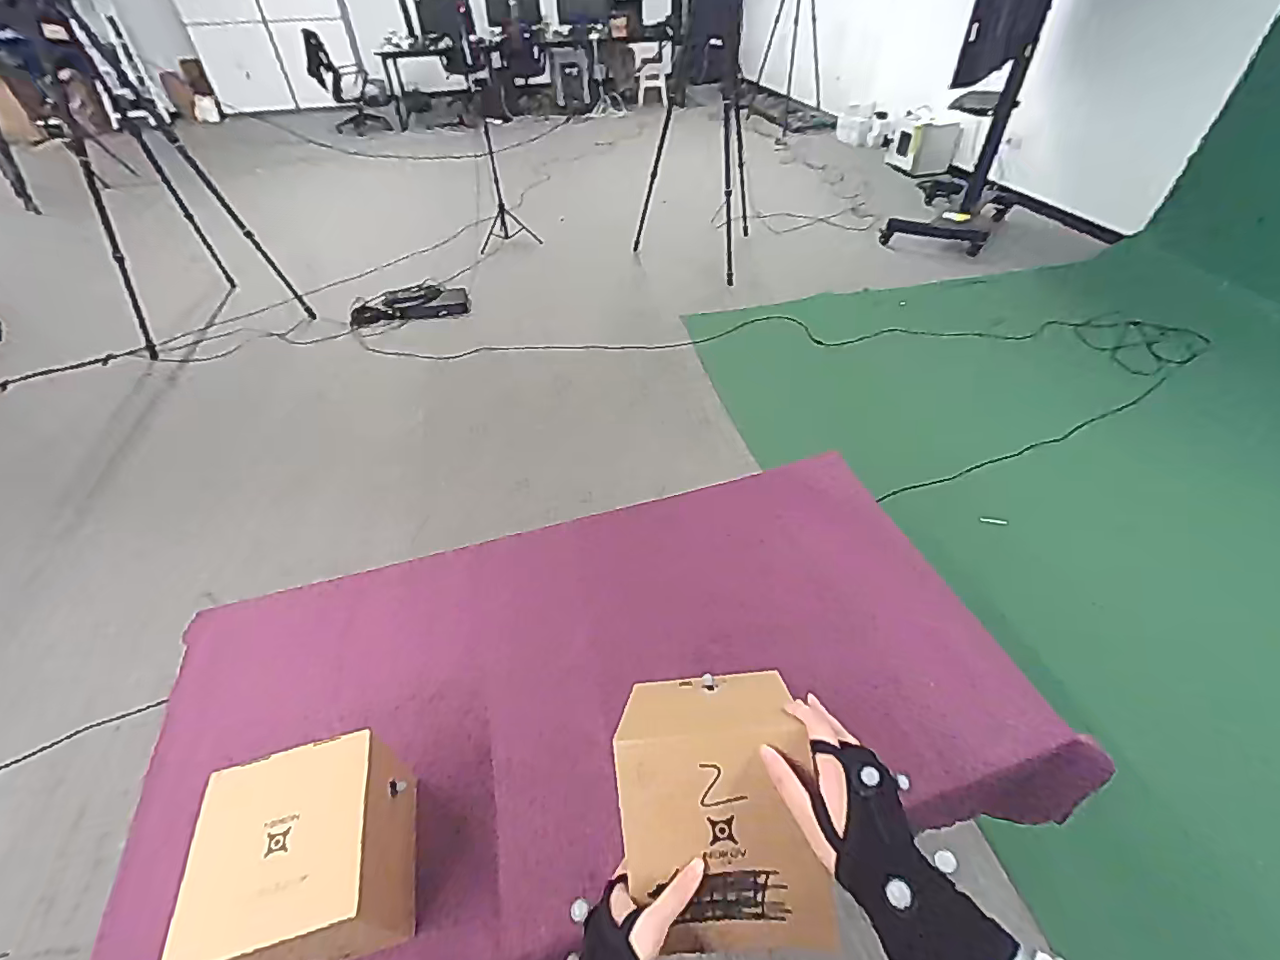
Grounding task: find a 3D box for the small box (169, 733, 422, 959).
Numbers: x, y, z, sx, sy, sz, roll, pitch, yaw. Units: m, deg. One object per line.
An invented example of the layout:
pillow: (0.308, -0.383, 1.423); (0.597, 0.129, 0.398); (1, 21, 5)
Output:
small box: (-0.351, 0.416, 0.594); (0.168, 0.176, 0.179); (-13, 46, -9)
